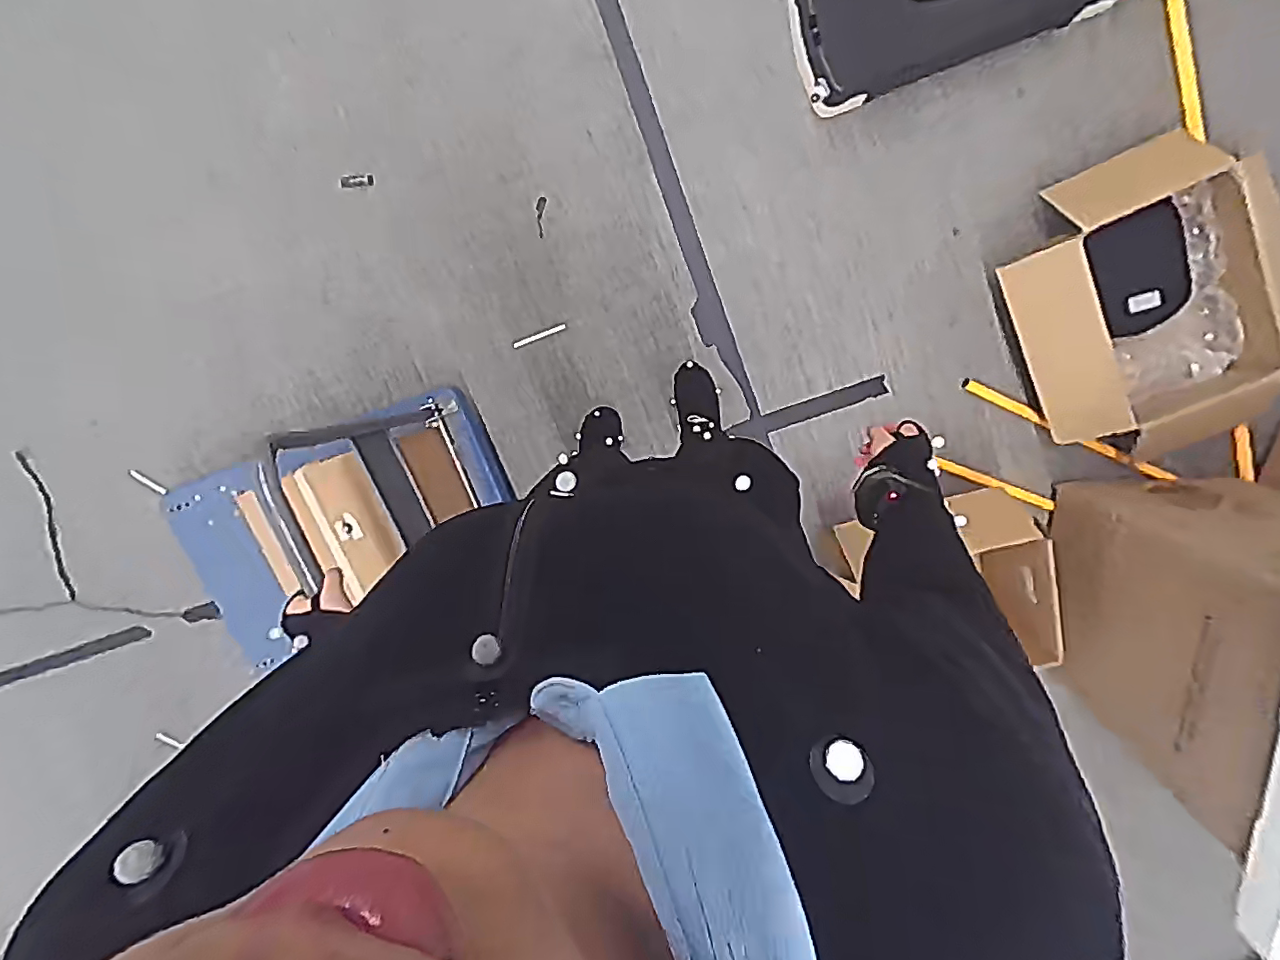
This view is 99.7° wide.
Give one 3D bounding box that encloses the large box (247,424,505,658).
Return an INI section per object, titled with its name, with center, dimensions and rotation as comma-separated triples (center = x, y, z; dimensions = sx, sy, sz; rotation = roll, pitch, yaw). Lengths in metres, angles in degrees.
[large box]
center = -0.567, 0.121, 1.241
dimensions = 0.320, 0.320, 0.408
rotation = -19, 100, 8
